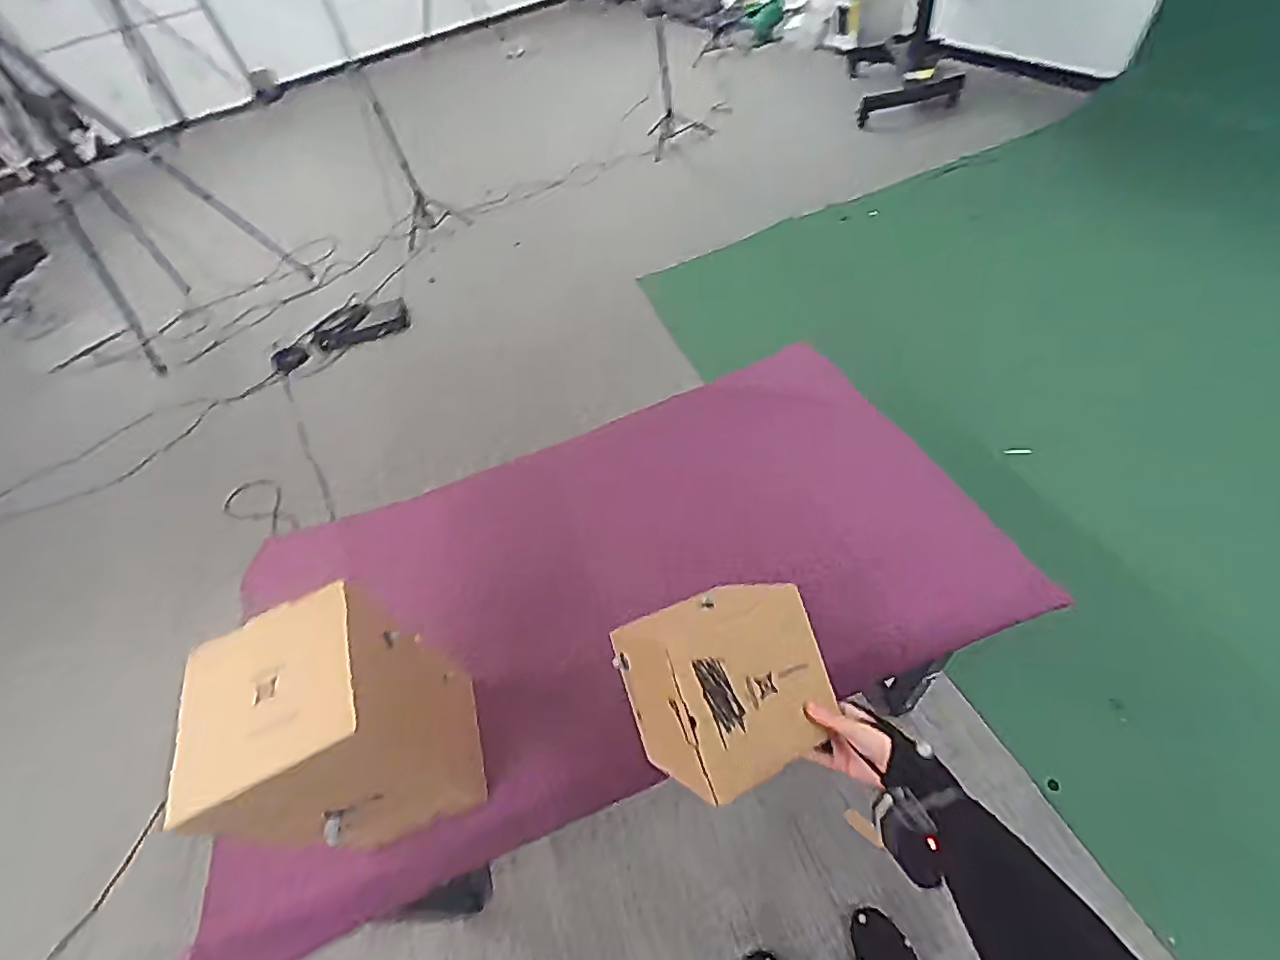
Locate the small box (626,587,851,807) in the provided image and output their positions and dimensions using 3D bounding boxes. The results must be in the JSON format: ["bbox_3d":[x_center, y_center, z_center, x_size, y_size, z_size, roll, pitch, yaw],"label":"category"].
[{"bbox_3d":[0.098,0.230,0.622,0.179,0.176,0.168,-15,85,-26],"label":"small box"}]

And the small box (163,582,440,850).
[{"bbox_3d":[-0.331,0.246,0.561,0.168,0.176,0.179,-26,50,-8],"label":"small box"}]
